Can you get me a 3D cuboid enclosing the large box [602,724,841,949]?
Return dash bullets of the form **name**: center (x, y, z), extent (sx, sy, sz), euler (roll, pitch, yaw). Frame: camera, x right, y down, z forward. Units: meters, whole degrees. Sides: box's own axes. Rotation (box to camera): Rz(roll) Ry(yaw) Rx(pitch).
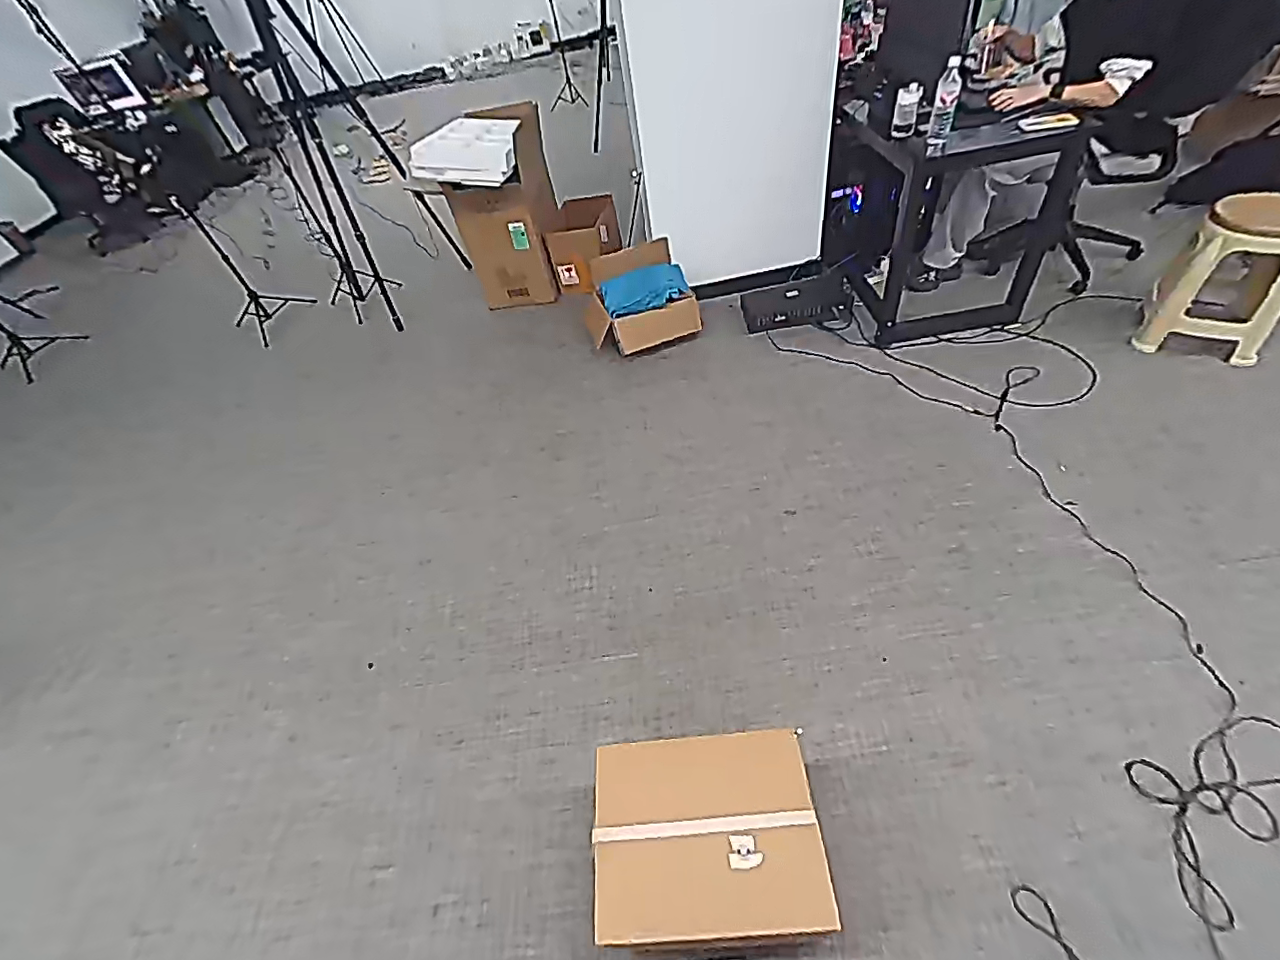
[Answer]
- **large box**: center (0.145, 0.726, 1.096), extent (0.408, 0.320, 0.320), euler (-7, 47, 4)
